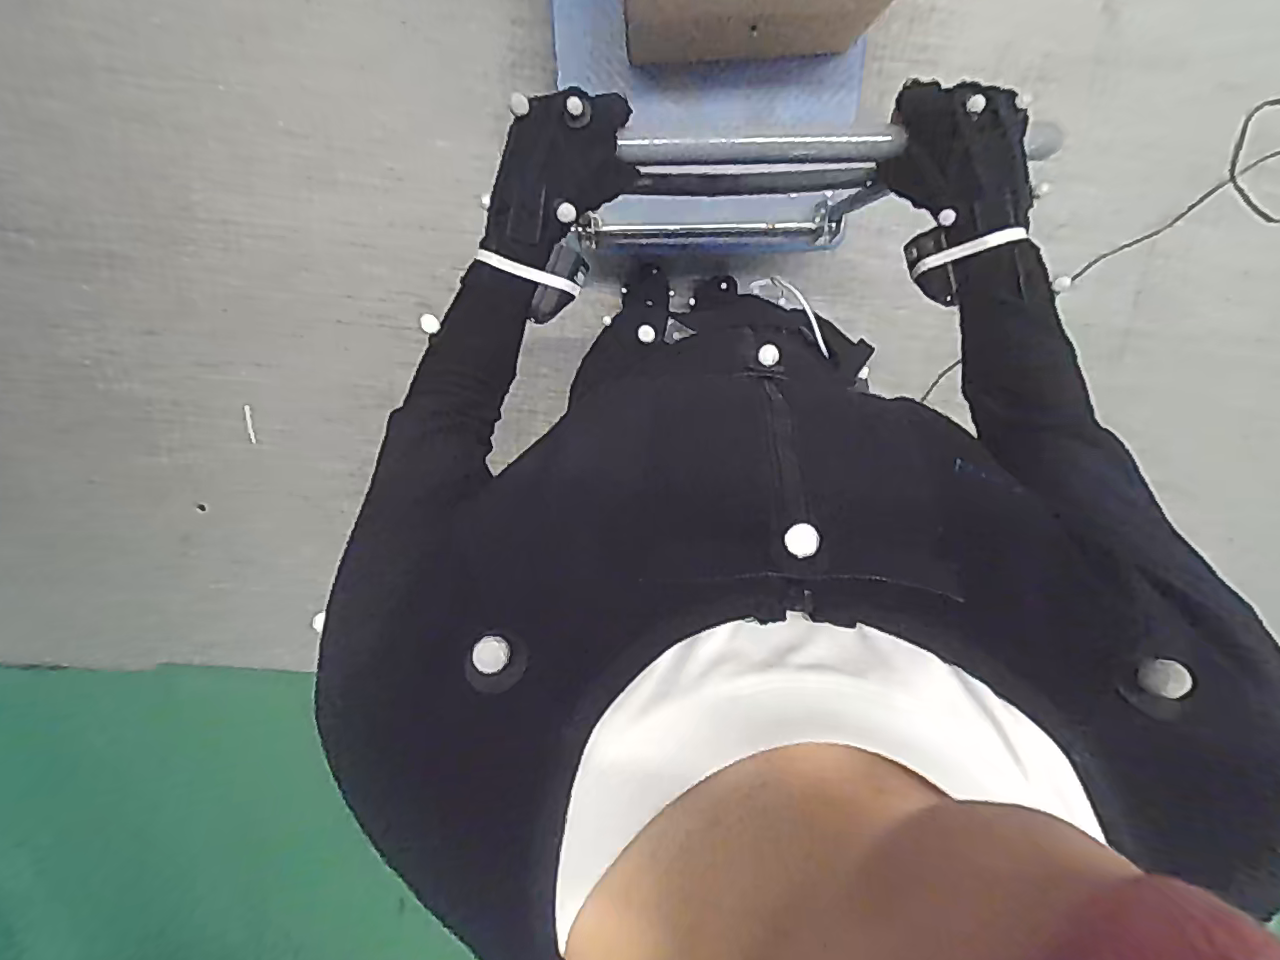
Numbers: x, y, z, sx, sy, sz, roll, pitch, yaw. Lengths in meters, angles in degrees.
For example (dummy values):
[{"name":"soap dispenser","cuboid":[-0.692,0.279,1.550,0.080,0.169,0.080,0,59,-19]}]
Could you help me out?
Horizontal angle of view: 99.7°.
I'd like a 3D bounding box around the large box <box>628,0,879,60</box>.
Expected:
[{"name":"large box","cuboid":[0.174,-0.885,0.815,0.408,0.320,0.320,-3,111,3]}]
